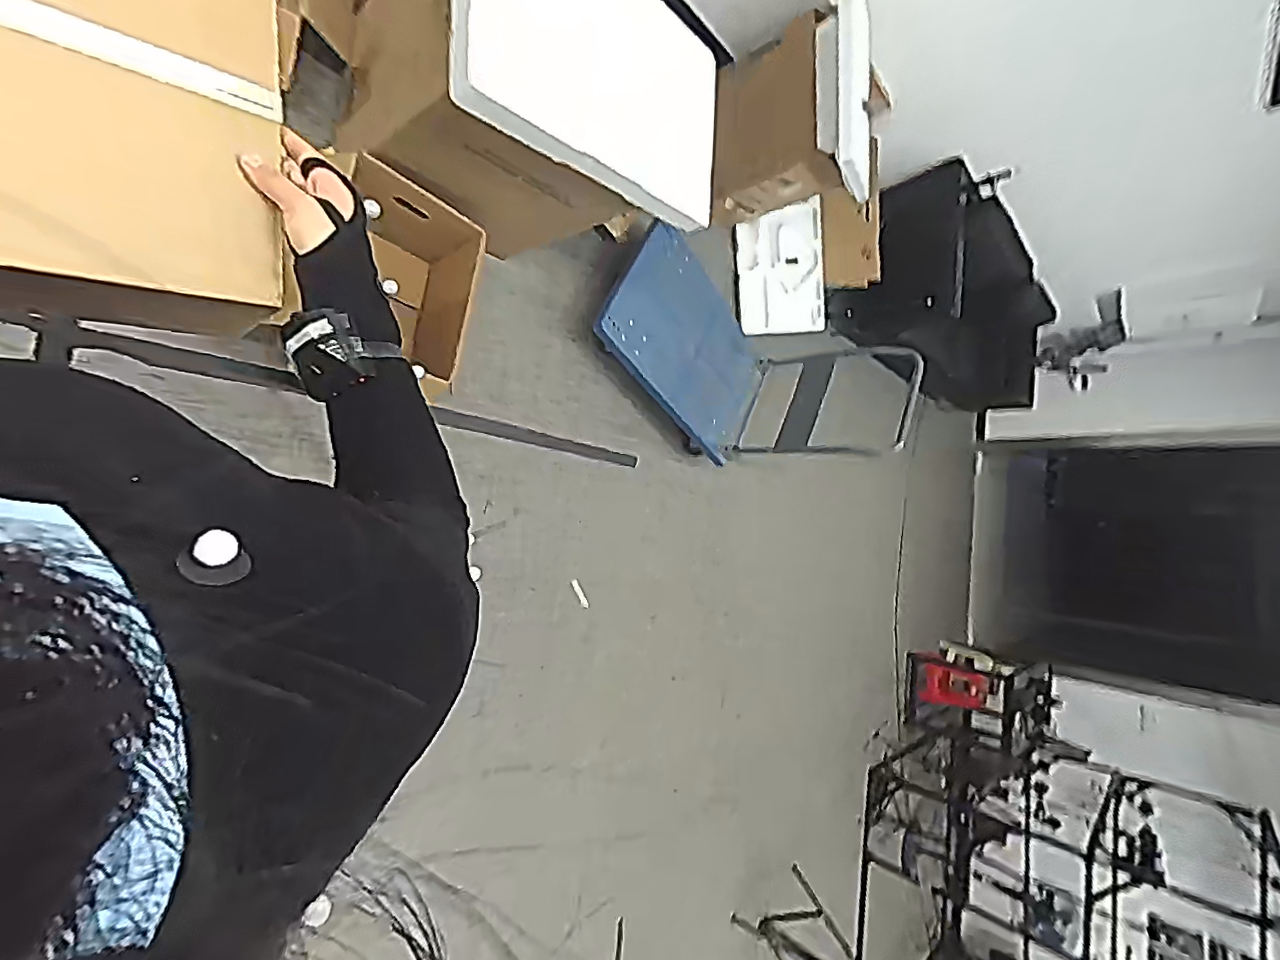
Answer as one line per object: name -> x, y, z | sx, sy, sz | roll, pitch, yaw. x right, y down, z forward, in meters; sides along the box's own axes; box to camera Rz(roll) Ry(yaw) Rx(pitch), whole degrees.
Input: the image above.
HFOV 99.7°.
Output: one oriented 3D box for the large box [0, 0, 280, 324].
large box -> -0.554, -0.314, 0.427 | 0.408, 0.320, 0.320 | -4, 98, -42
